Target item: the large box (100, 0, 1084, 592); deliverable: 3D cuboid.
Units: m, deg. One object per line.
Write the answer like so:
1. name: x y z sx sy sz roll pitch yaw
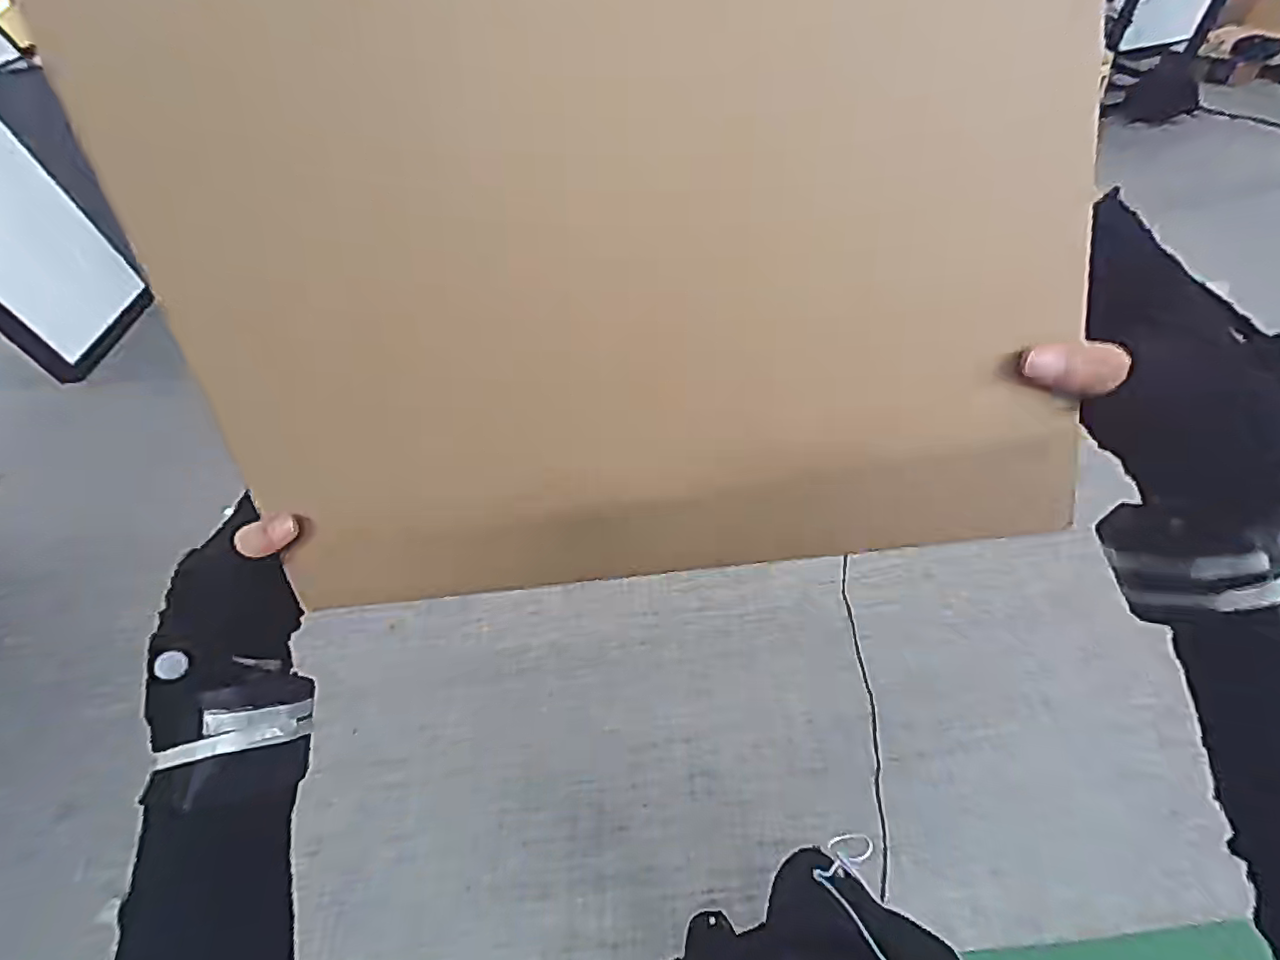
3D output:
1. large box: -0.003 -0.142 0.384 0.408 0.320 0.320 -7 18 11
